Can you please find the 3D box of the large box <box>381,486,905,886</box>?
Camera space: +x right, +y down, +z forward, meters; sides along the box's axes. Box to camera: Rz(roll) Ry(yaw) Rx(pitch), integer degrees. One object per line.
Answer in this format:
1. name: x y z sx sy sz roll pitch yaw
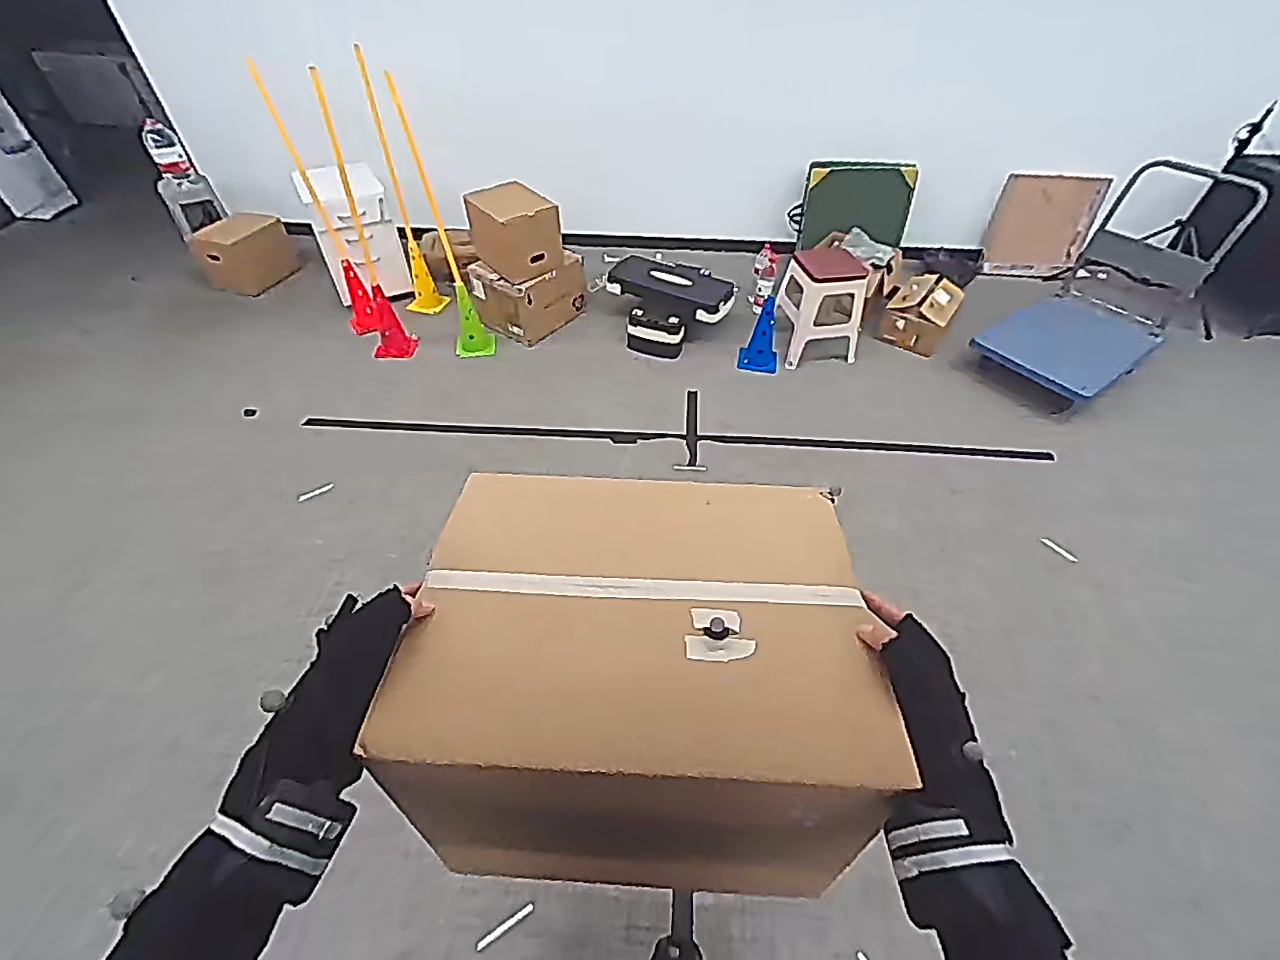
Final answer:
1. large box: 0.002 0.225 0.611 0.408 0.320 0.320 3 41 2
